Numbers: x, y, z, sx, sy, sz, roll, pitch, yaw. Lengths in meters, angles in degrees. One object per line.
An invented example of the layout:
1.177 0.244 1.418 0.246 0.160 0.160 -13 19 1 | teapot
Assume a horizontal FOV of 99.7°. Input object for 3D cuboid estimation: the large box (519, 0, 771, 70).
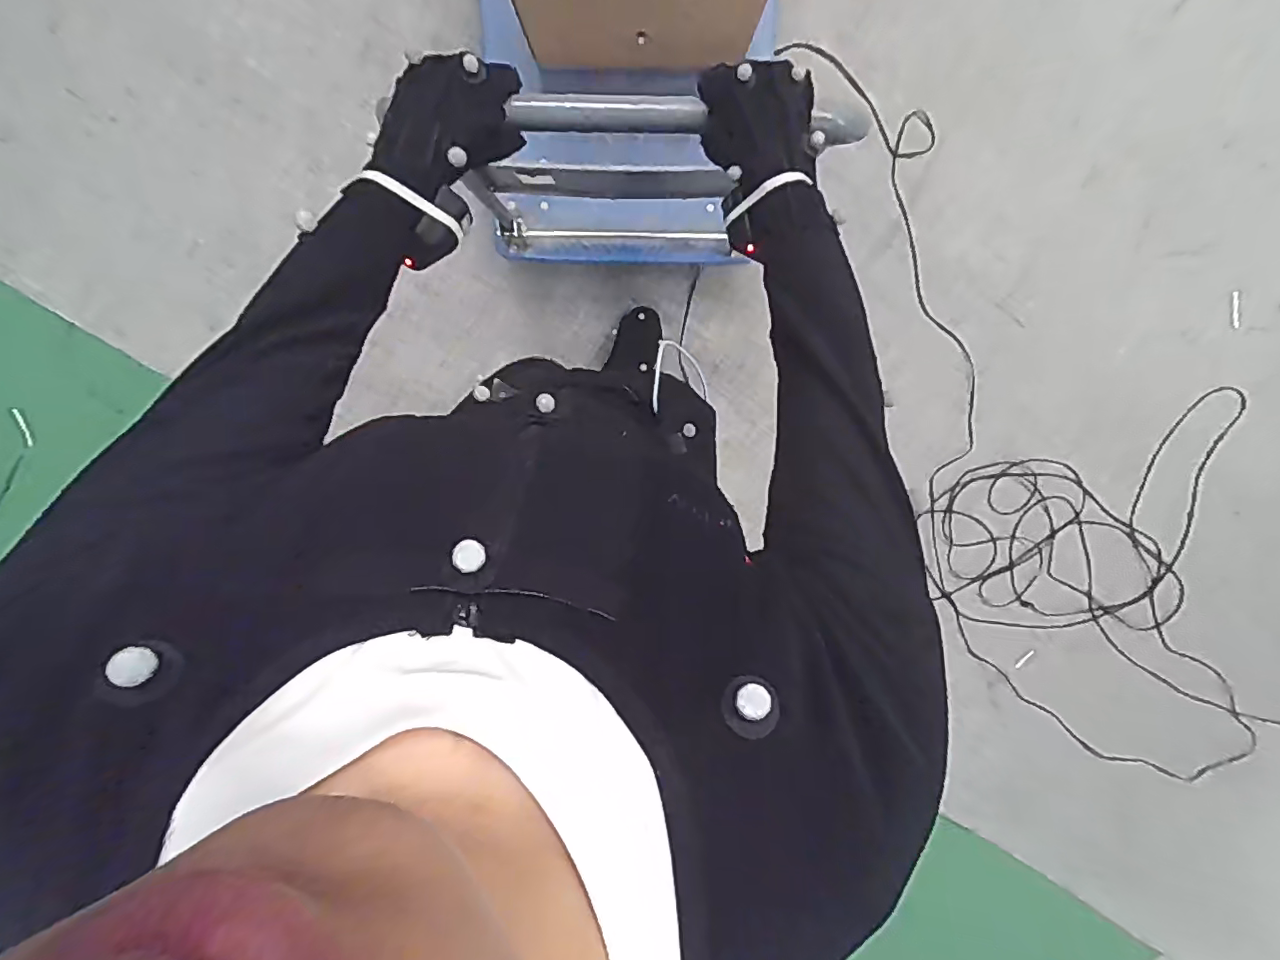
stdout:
0.007 -0.926 0.896 0.408 0.320 0.320 -1 106 1 | large box
